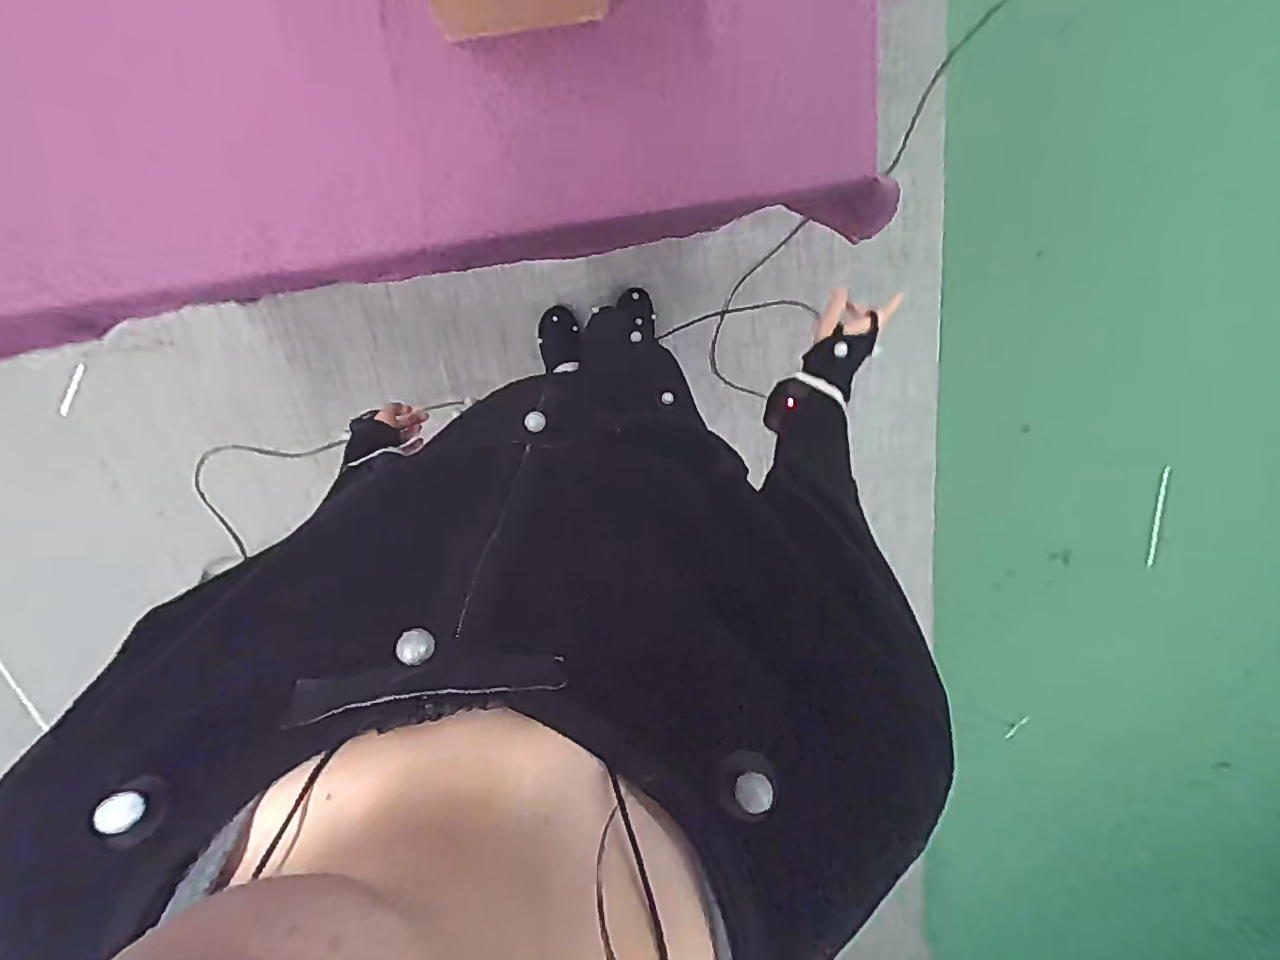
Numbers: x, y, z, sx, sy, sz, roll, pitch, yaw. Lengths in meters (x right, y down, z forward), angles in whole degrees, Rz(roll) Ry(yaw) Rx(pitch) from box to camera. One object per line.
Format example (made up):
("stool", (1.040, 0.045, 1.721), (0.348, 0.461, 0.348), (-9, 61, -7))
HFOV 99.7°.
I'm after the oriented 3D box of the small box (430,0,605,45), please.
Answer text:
("small box", (-0.125, -0.531, 0.490), (0.179, 0.176, 0.168), (-11, 110, -4))
